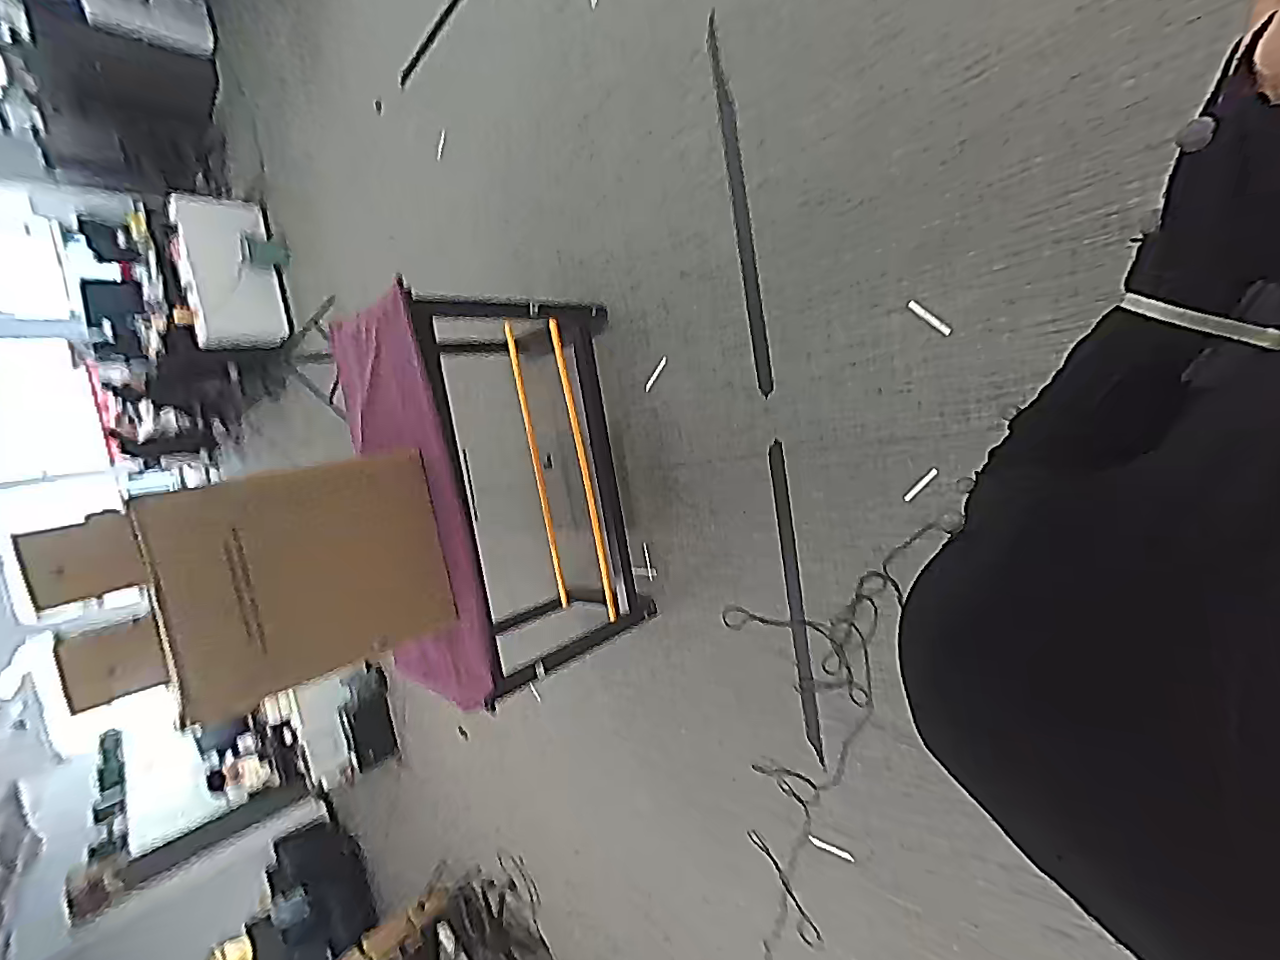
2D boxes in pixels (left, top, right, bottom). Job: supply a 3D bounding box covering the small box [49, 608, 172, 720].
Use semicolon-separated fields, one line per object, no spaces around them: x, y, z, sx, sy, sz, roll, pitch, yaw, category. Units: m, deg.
-1.226;0.416;1.259;0.168;0.176;0.179;0;102;46;small box
